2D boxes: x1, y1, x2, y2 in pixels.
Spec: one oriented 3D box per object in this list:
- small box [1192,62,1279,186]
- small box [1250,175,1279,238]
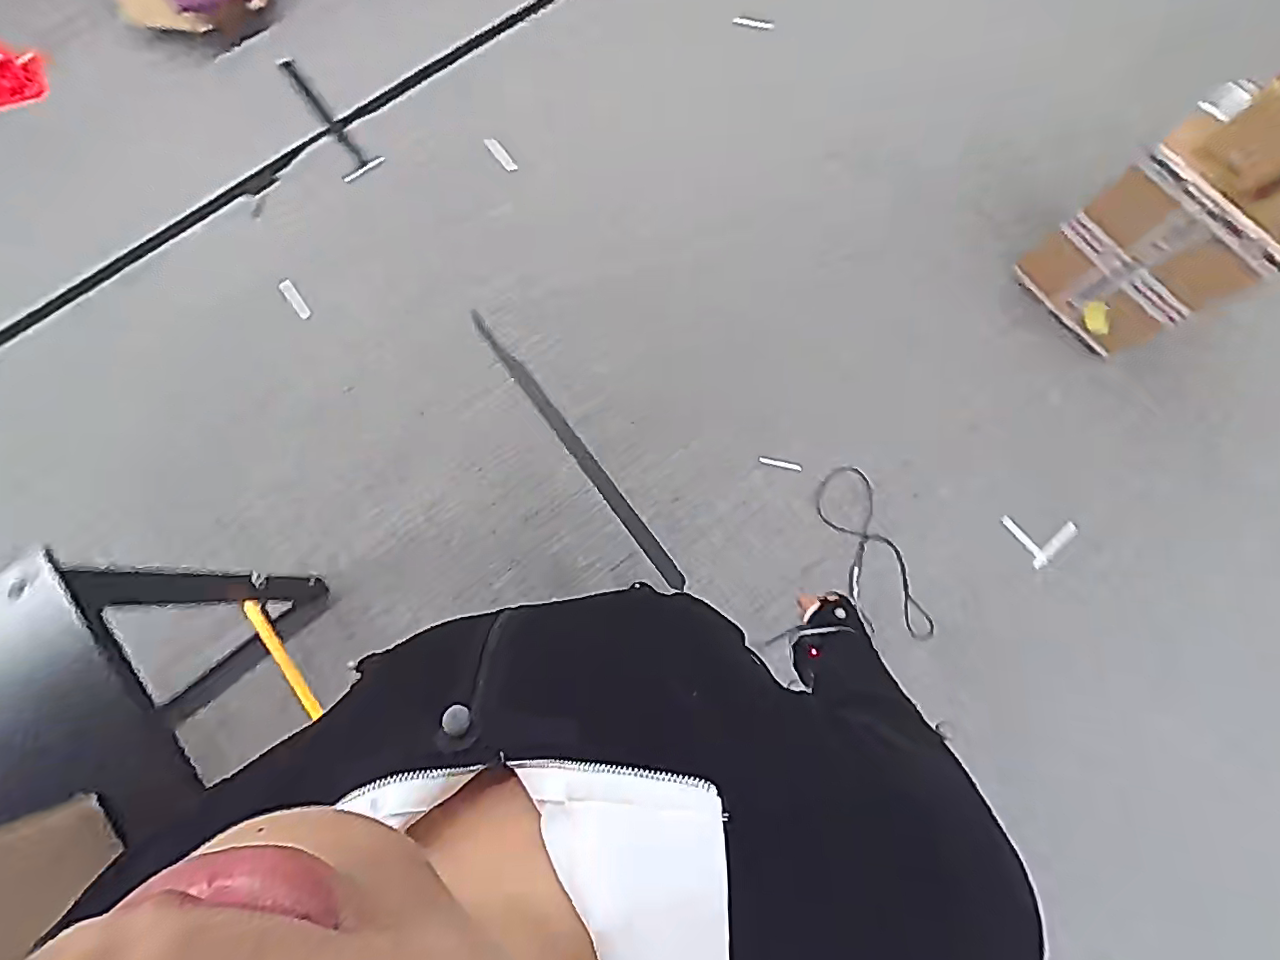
[{"bbox_3d":[1.353,-0.777,1.142,0.179,0.176,0.168,-40,80,-4],"label":"small box"},{"bbox_3d":[1.448,-0.611,1.110,0.179,0.176,0.168,-38,82,-5],"label":"small box"}]
